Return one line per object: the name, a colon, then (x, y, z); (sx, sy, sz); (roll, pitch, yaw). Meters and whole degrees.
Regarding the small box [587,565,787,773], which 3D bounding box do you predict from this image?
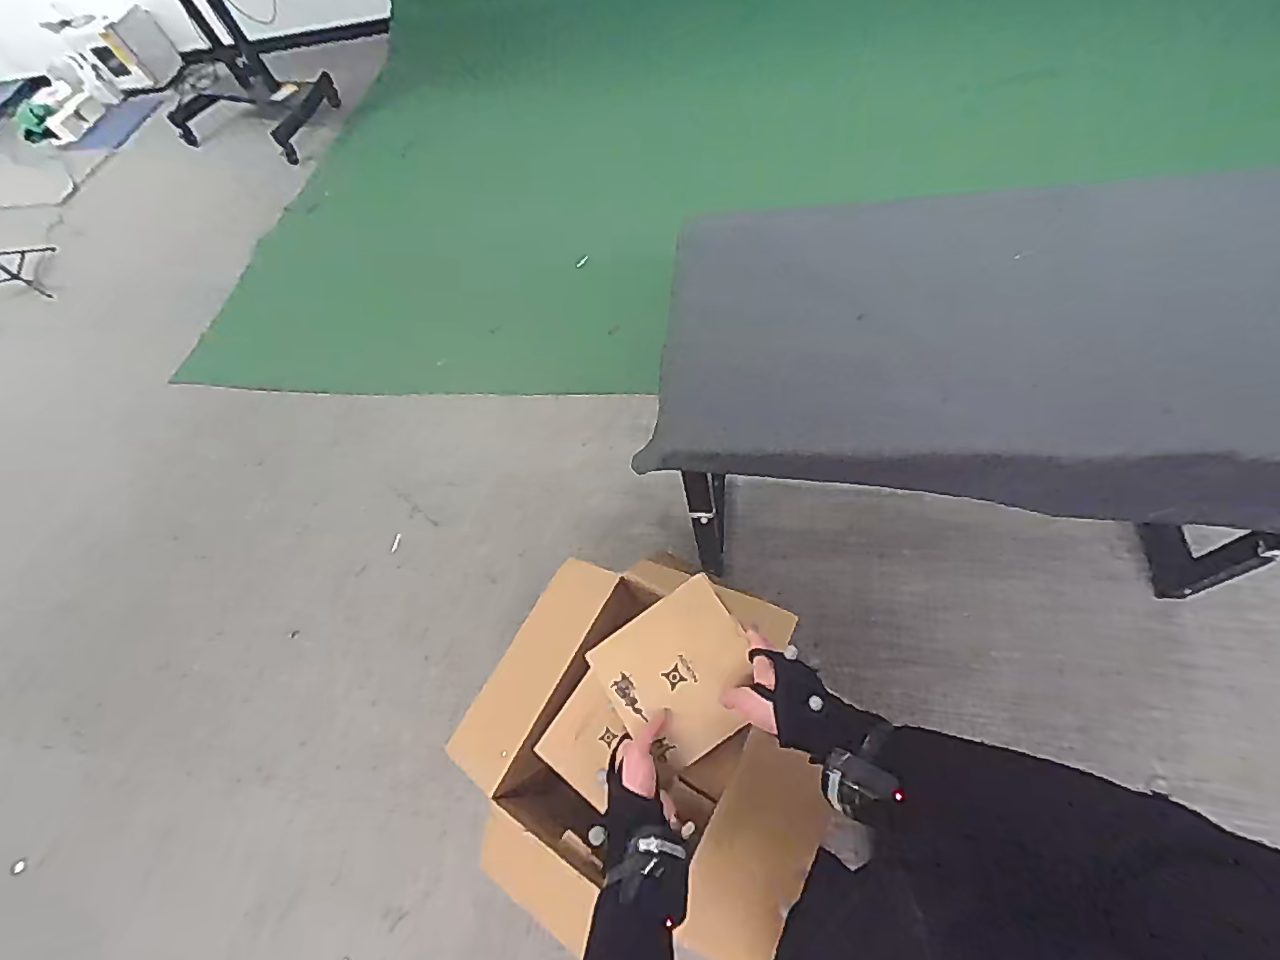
small box: (0.064, 0.232, 0.687); (0.179, 0.176, 0.168); (-35, 67, 0)
